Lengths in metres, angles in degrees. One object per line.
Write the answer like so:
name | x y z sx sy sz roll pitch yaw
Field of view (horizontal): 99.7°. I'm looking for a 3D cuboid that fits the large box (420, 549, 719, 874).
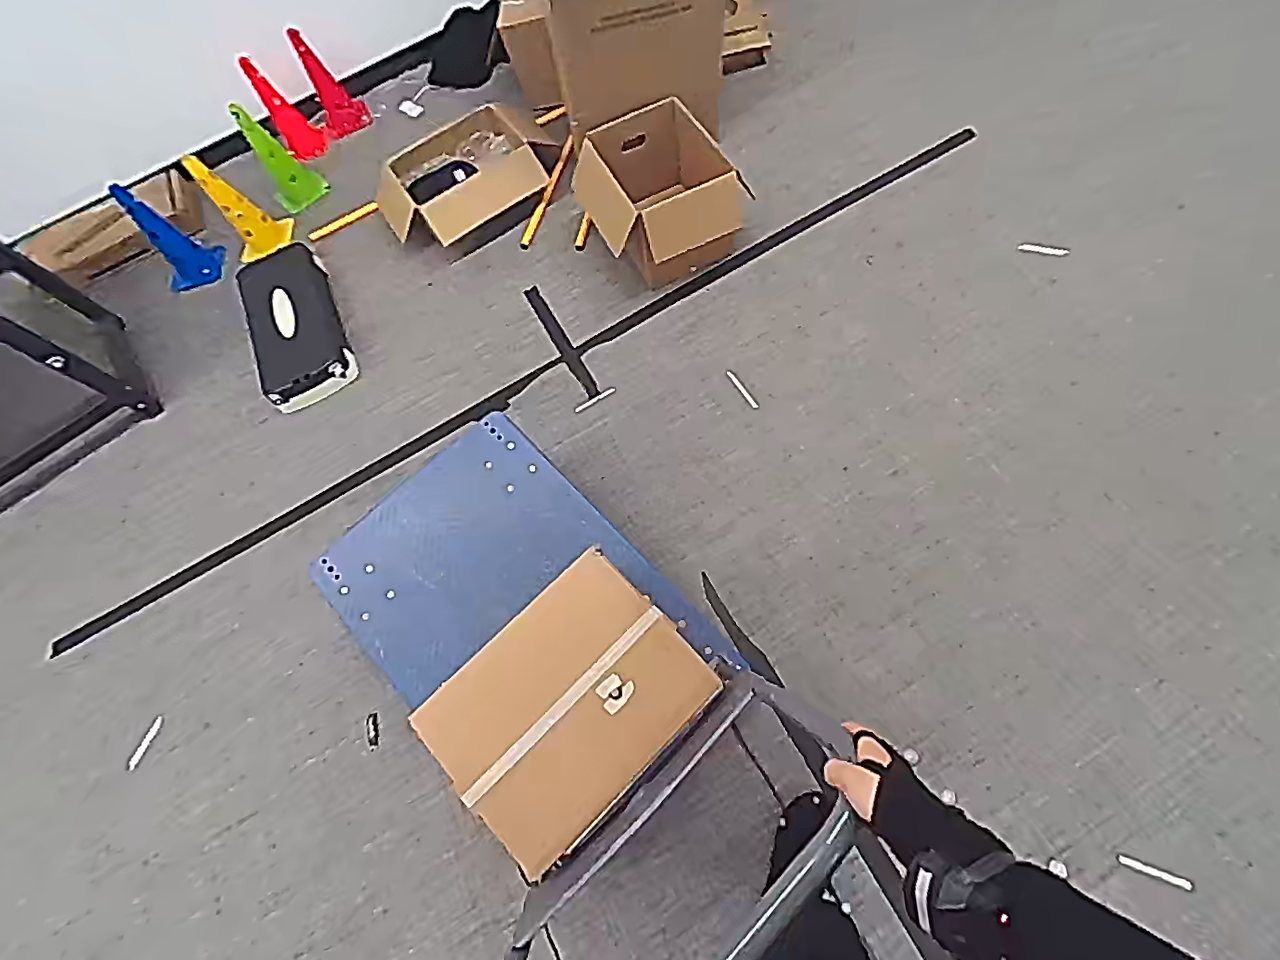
large box | -0.112 0.399 1.016 0.408 0.320 0.320 -43 78 -11
